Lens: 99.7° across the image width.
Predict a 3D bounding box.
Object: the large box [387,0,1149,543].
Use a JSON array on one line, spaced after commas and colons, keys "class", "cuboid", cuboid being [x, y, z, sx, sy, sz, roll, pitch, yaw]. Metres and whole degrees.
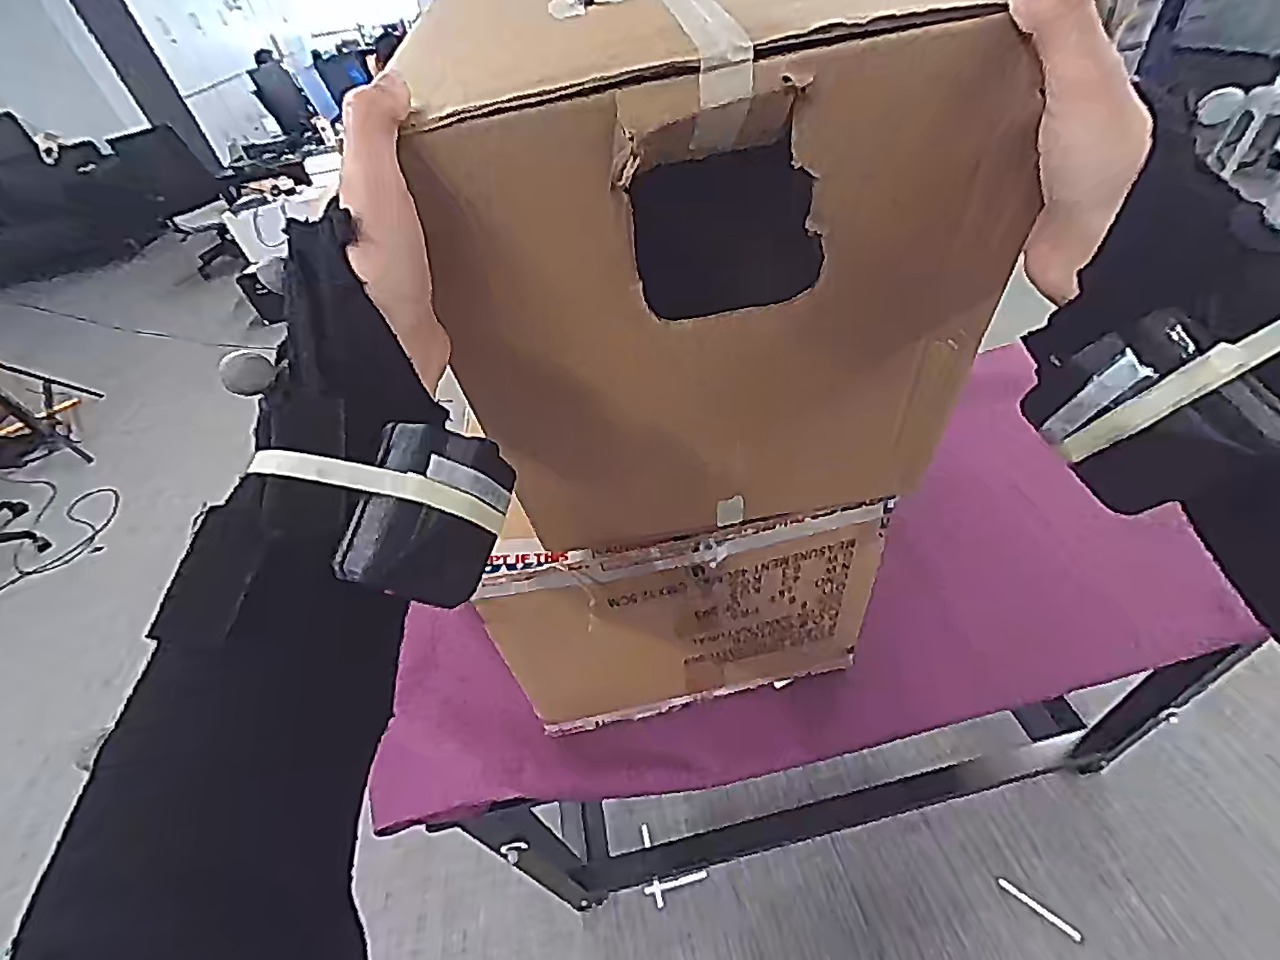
[{"class": "large box", "cuboid": [0.040, -0.214, 0.449, 0.320, 0.320, 0.408, -11, 51, 2]}]
